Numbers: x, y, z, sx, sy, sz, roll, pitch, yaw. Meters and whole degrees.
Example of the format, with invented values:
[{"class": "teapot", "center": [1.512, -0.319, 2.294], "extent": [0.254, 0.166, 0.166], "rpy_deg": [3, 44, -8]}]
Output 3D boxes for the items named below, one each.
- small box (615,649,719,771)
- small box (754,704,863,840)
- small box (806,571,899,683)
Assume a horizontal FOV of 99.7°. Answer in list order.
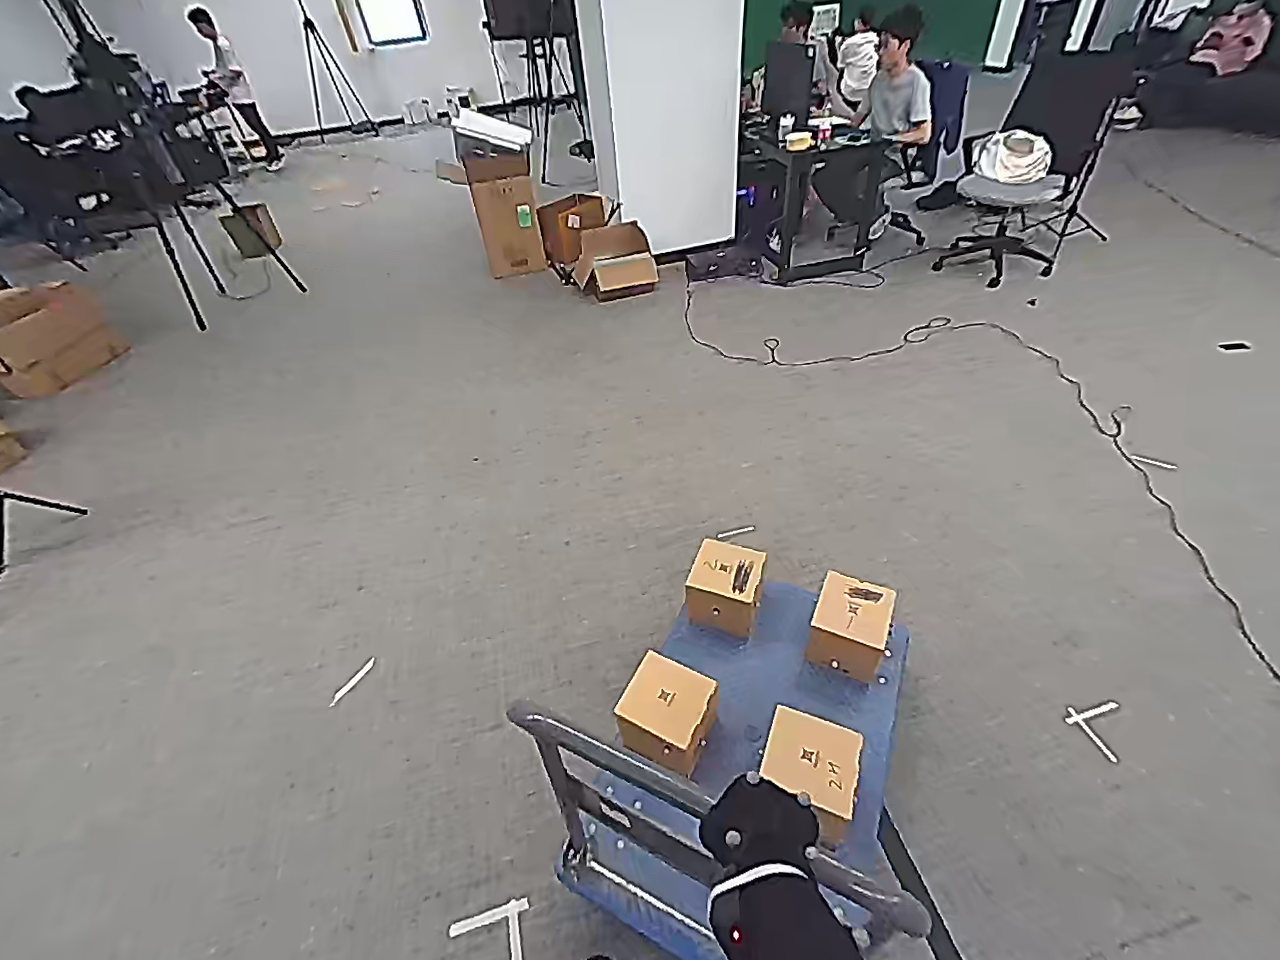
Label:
[{"class": "small box", "center": [0.064, 0.524, 1.227], "extent": [0.179, 0.176, 0.168], "rpy_deg": [19, 48, 23]}, {"class": "small box", "center": [0.340, 0.601, 1.109], "extent": [0.179, 0.176, 0.168], "rpy_deg": [15, 47, 22]}, {"class": "small box", "center": [0.521, 0.365, 1.340], "extent": [0.168, 0.176, 0.179], "rpy_deg": [17, 49, 23]}]
